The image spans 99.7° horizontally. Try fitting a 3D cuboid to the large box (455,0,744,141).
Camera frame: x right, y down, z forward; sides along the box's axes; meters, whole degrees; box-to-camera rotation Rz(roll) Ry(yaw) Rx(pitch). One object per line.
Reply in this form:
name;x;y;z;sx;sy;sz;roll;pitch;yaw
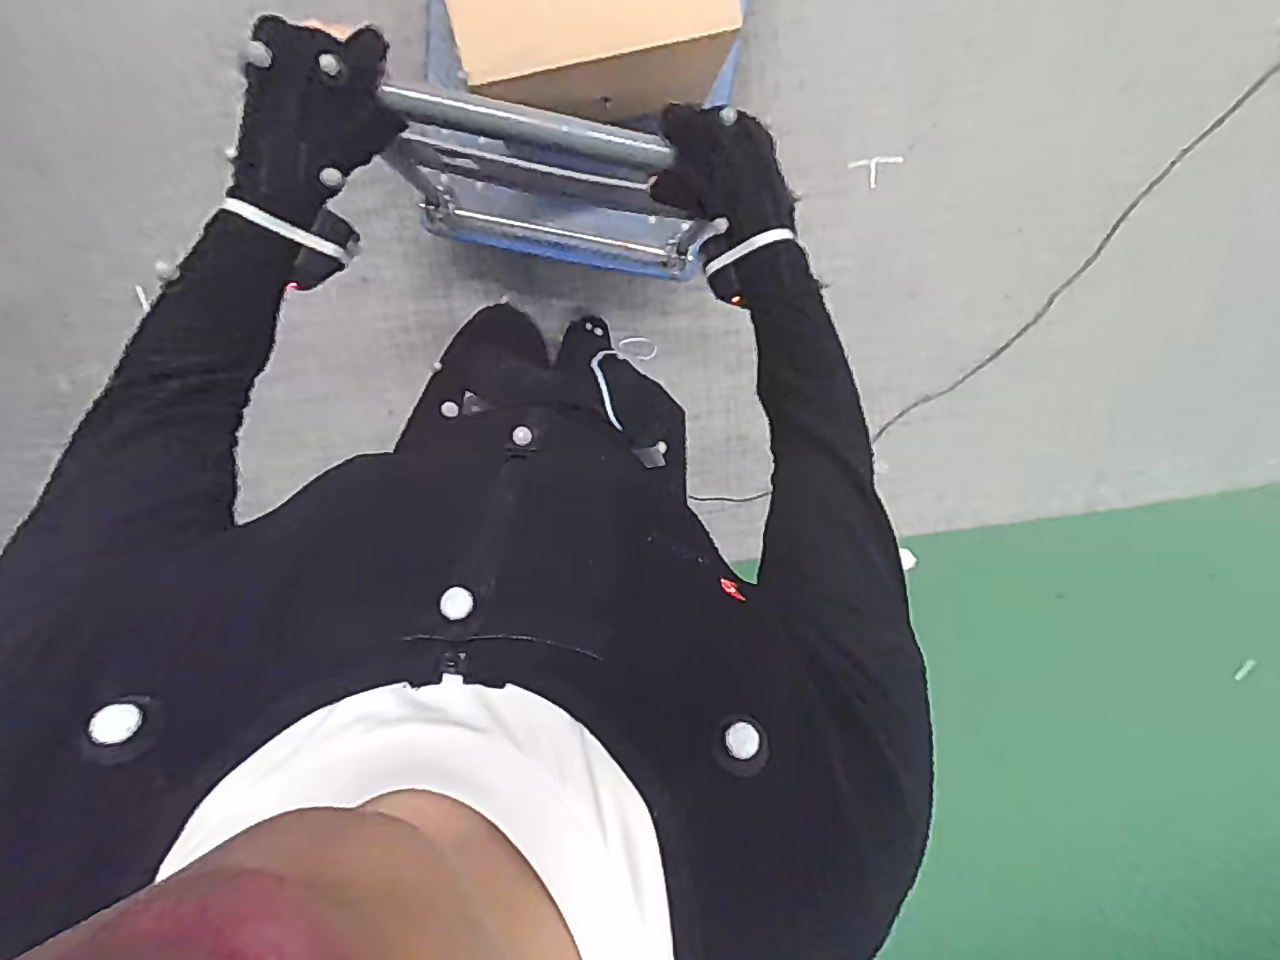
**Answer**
large box;-0.079;-0.798;0.874;0.408;0.320;0.320;-12;108;1
